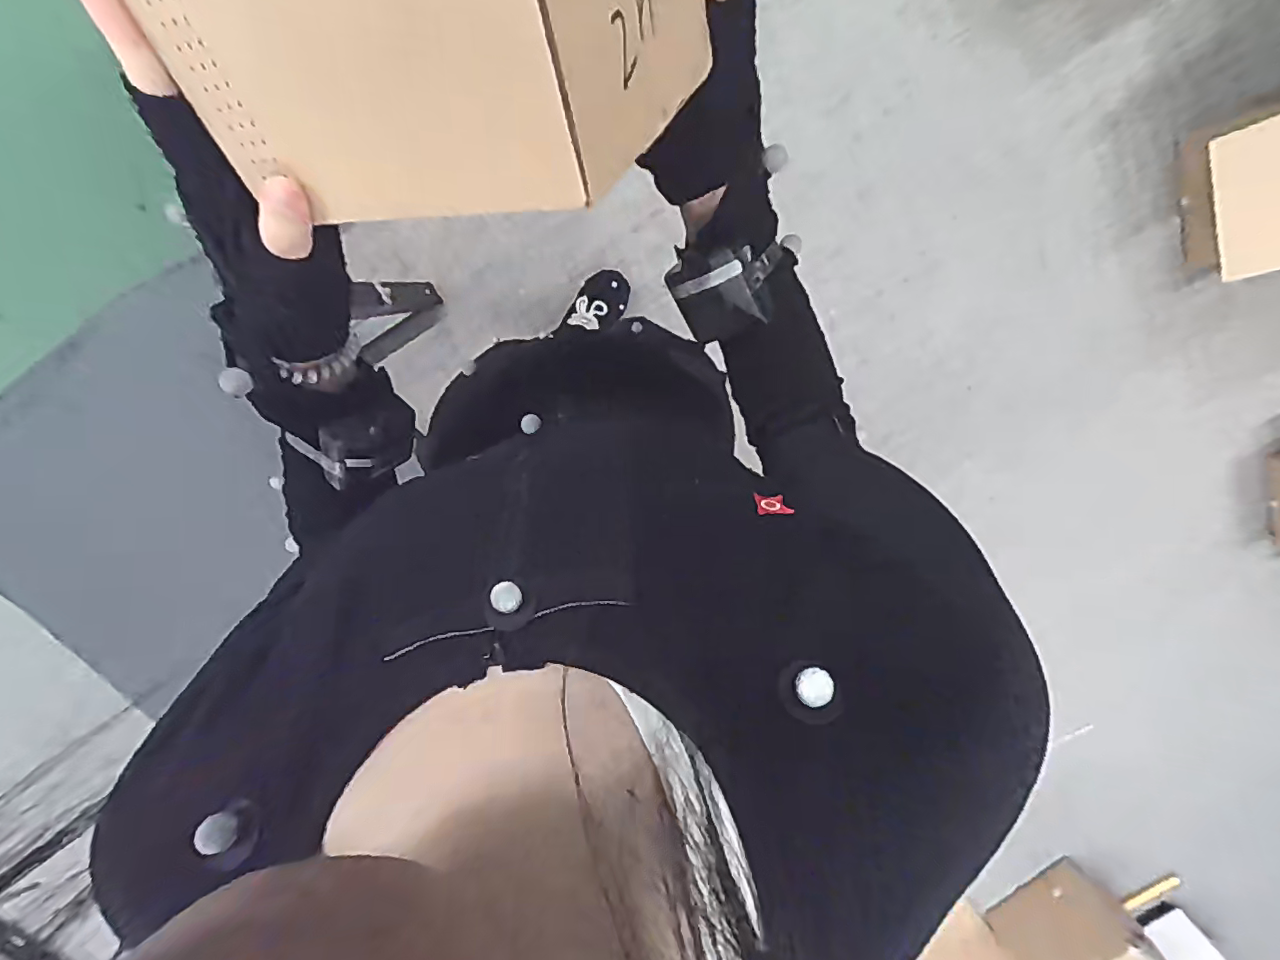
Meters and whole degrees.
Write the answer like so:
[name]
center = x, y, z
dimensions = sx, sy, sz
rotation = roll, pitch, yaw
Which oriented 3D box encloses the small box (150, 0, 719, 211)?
[small box]
center = -0.077, -0.224, 0.204
dimensions = 0.176, 0.168, 0.179
rotation = 8, 140, 21
